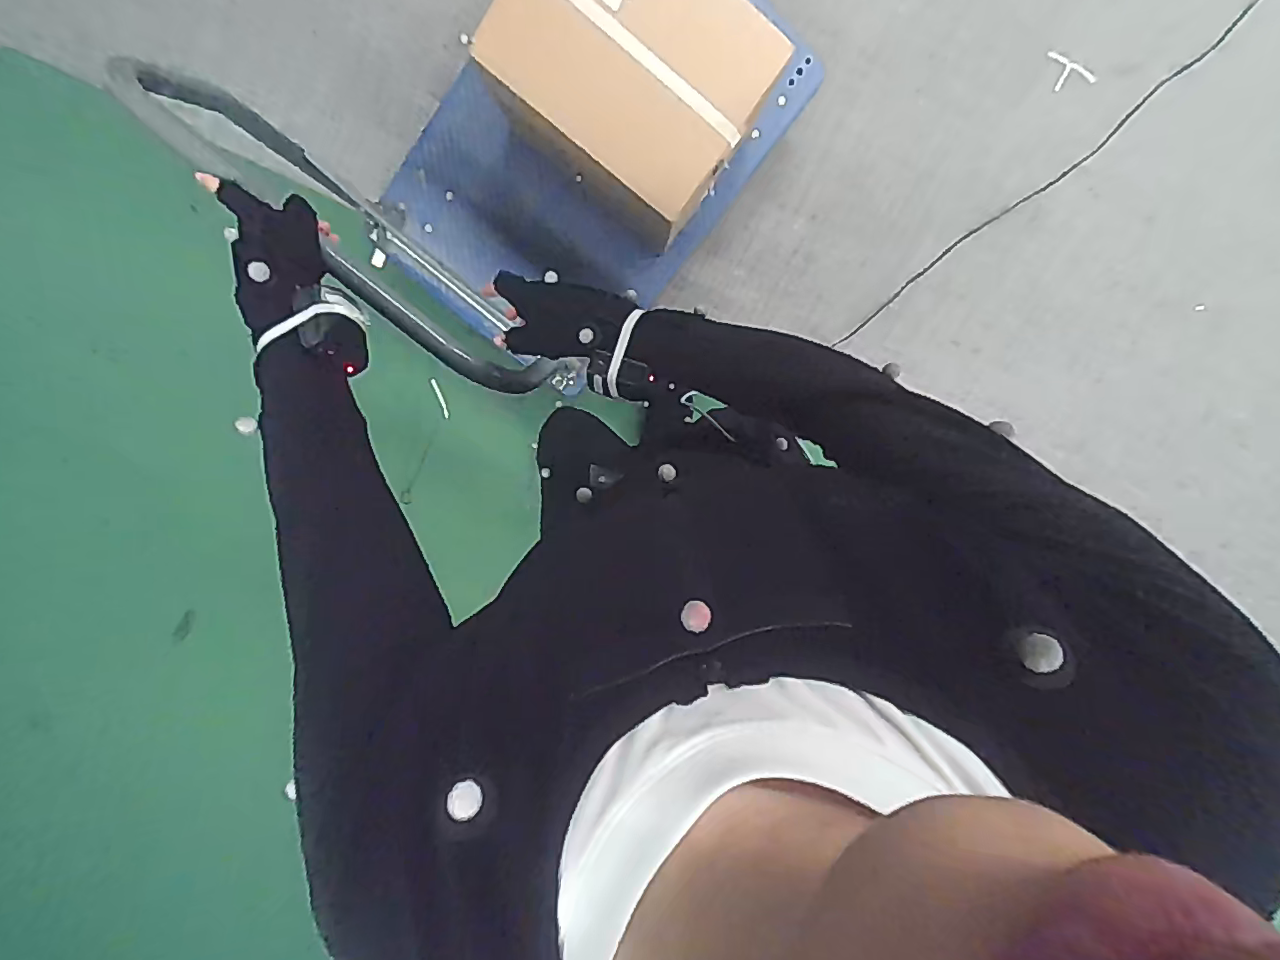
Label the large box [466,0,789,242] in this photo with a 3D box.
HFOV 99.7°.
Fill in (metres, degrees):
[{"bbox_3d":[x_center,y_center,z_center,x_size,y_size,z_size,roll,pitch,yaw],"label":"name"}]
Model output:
[{"bbox_3d":[-0.017,-0.700,0.965,0.408,0.320,0.320,37,101,-8],"label":"large box"}]
